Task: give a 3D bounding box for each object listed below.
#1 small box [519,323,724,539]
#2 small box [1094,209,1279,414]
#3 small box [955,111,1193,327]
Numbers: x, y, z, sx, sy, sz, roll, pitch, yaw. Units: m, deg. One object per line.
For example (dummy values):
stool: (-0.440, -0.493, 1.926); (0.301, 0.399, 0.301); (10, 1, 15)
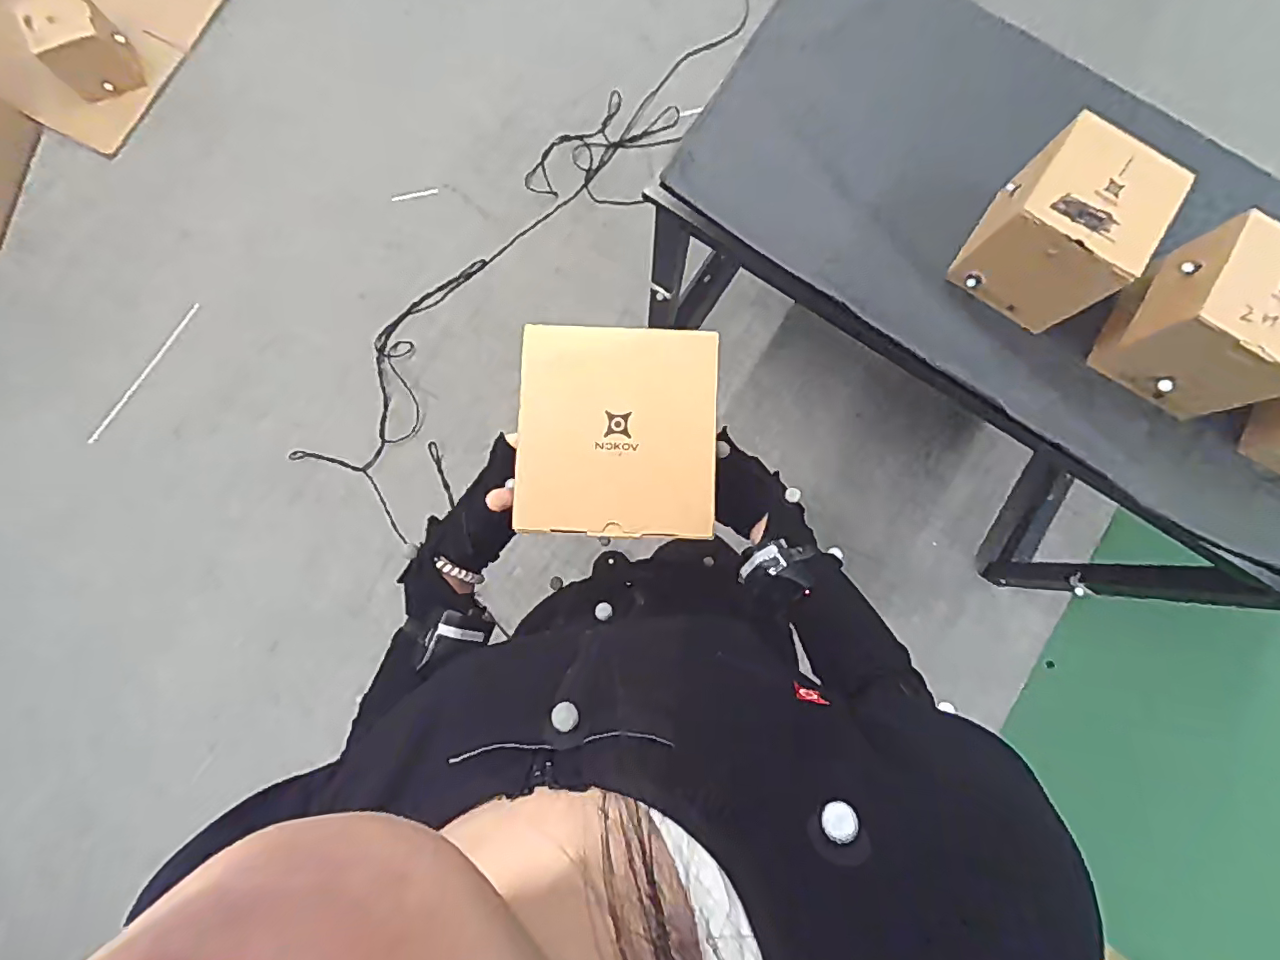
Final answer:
small box: (-0.016, -0.036, 0.523); (0.168, 0.176, 0.179); (2, 87, -1)
small box: (0.789, -0.218, 0.744); (0.168, 0.176, 0.179); (32, 83, 4)
small box: (0.585, -0.349, 0.758); (0.168, 0.176, 0.179); (34, 82, 3)
